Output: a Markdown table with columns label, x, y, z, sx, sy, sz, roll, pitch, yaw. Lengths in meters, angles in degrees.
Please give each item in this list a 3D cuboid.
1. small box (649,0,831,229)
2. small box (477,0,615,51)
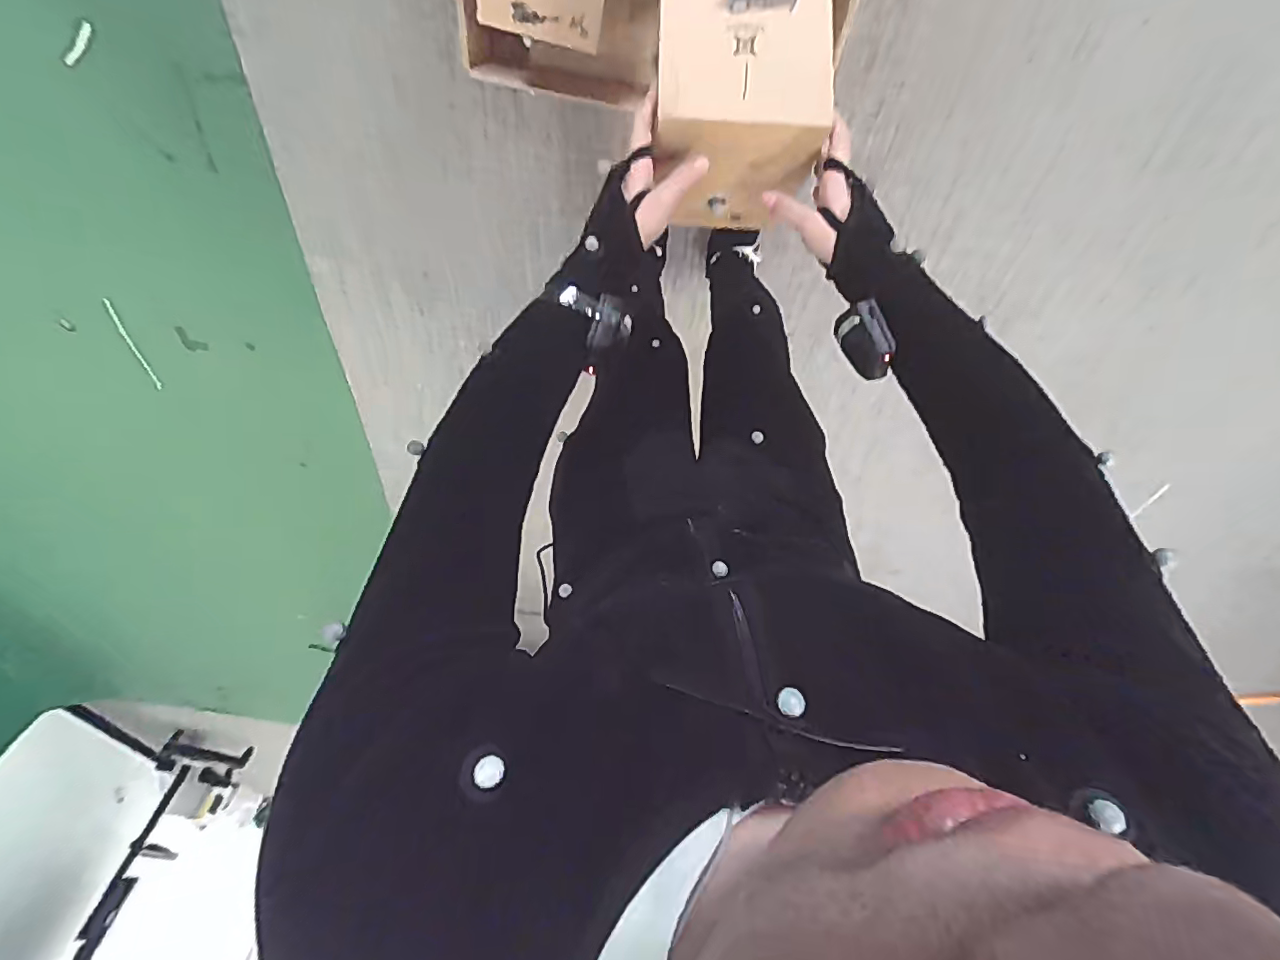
| label | x | y | z | sx | sy | sz | roll | pitch | yaw |
| --- | --- | --- | --- | --- | --- | --- | --- | --- | --- |
| small box | 0.096 | -0.406 | 0.590 | 0.168 | 0.179 | 0.176 | 1 | 173 | -1 |
| small box | -0.114 | -0.719 | 0.730 | 0.168 | 0.176 | 0.179 | 12 | 134 | -5 |
